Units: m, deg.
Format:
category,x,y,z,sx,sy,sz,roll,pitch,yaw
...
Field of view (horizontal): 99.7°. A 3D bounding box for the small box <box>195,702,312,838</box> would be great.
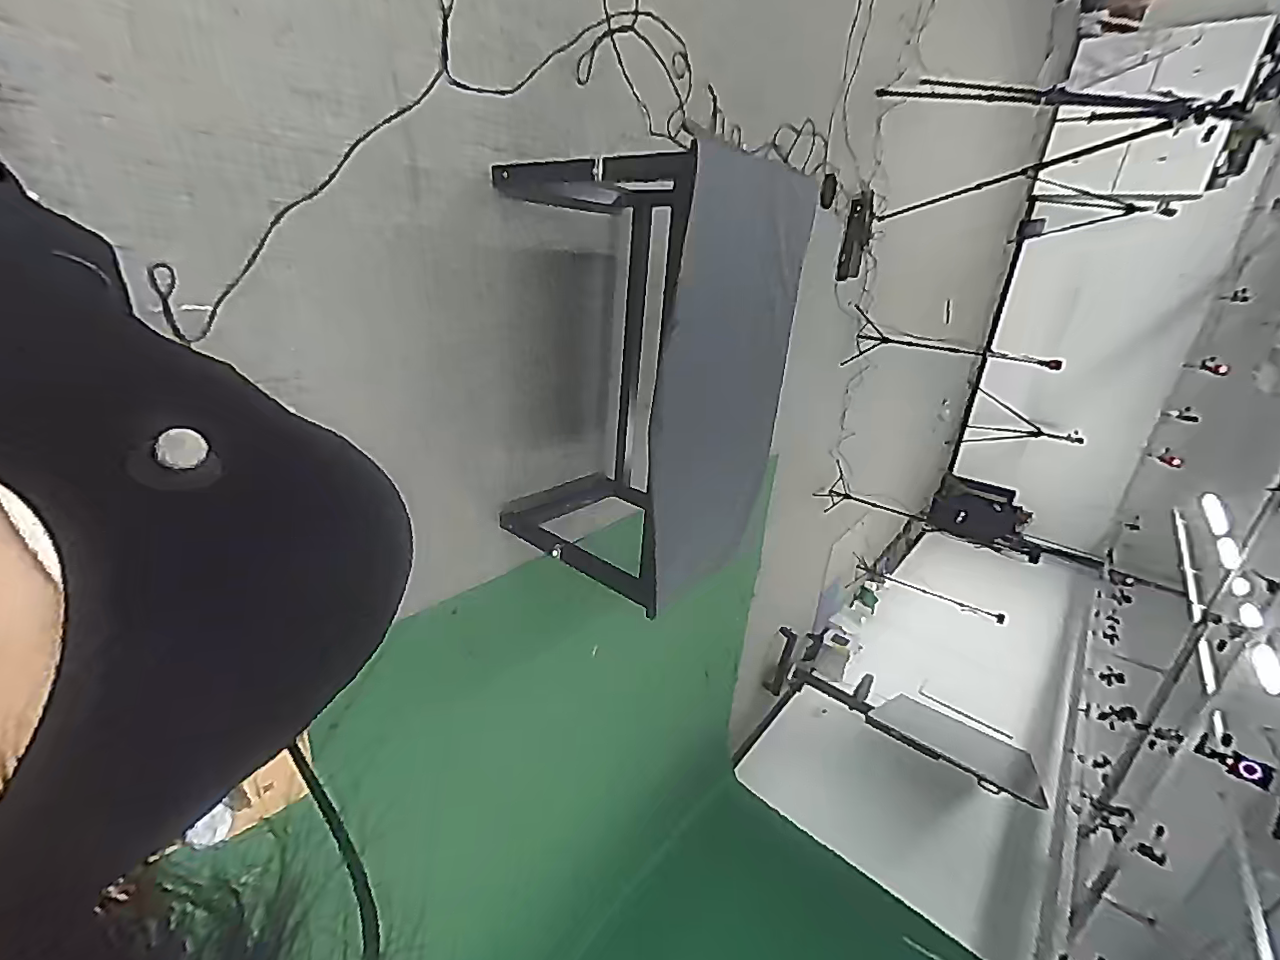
category,x,y,z,sx,sy,sz,roll,pitch,yaw
small box,-0.885,0.652,1.236,0.179,0.176,0.168,-18,121,-48
